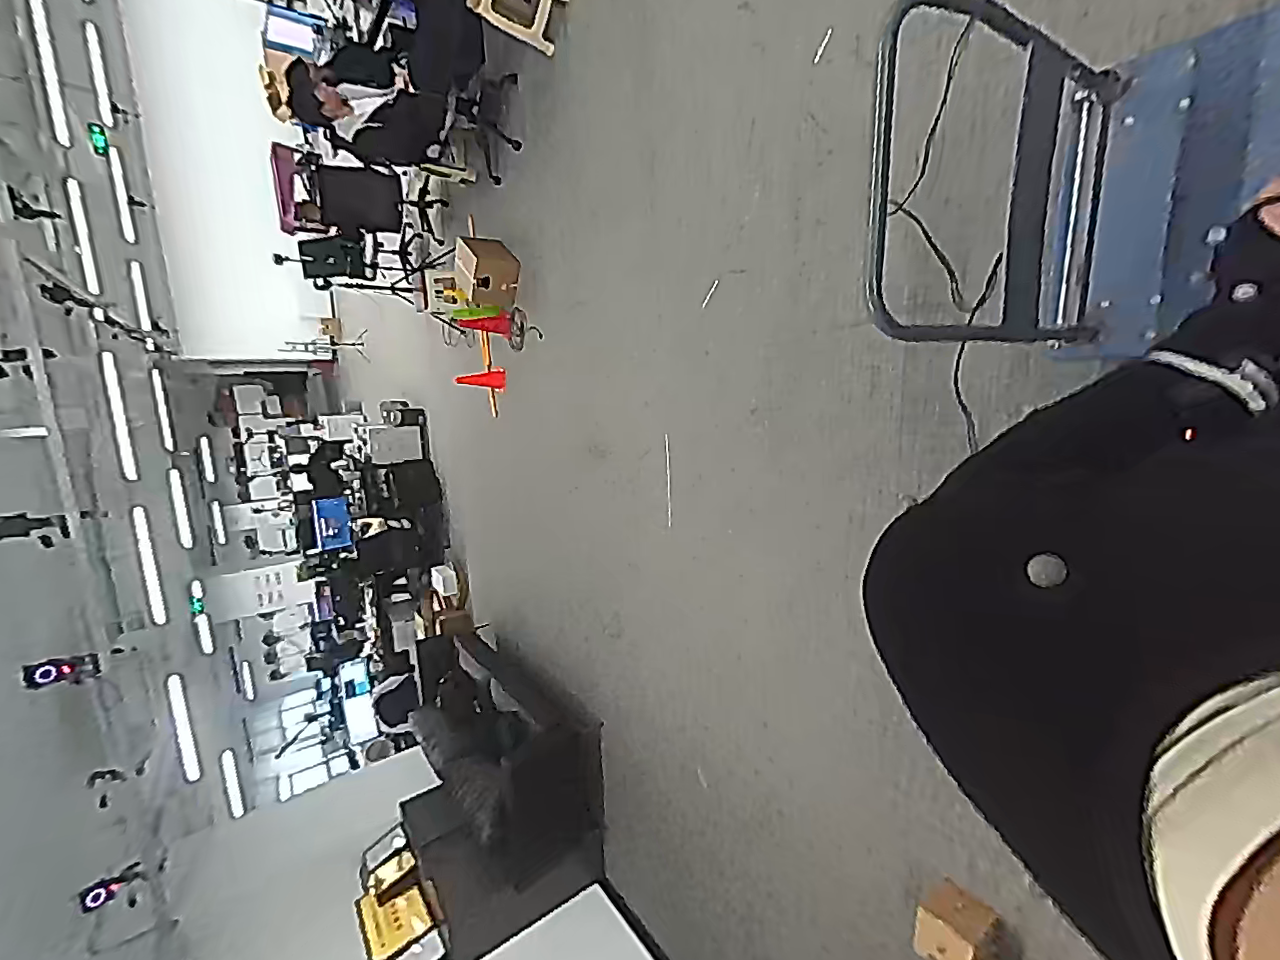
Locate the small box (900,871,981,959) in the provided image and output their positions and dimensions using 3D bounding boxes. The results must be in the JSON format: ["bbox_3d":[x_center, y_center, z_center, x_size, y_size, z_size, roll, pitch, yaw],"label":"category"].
[{"bbox_3d":[0.959,1.407,1.720,0.168,0.176,0.179,17,110,51],"label":"small box"}]
